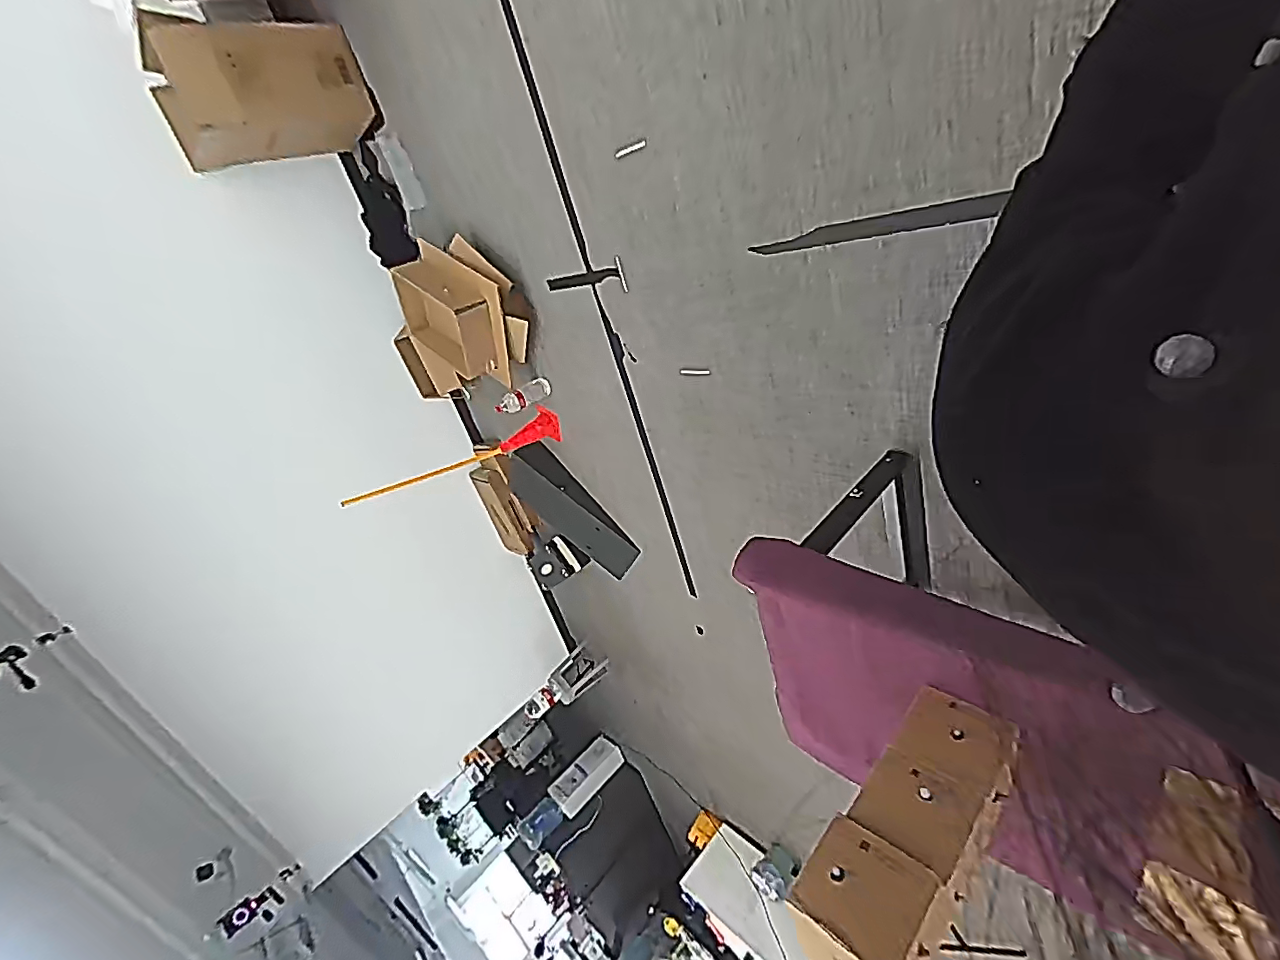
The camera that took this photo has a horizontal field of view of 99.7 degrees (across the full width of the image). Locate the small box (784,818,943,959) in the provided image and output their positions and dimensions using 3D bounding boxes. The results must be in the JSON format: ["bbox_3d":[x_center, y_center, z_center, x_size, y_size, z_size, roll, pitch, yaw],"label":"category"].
[{"bbox_3d":[0.349,0.677,0.837,0.168,0.176,0.179,13,130,47],"label":"small box"}]

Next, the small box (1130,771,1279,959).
[{"bbox_3d":[0.807,0.547,0.740,0.168,0.176,0.179,14,131,46],"label":"small box"}]

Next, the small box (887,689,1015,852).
[{"bbox_3d":[0.582,0.533,1.016,0.168,0.176,0.179,17,132,45],"label":"small box"}]

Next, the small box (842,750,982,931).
[{"bbox_3d":[0.468,0.617,0.932,0.168,0.176,0.179,16,131,44],"label":"small box"}]
